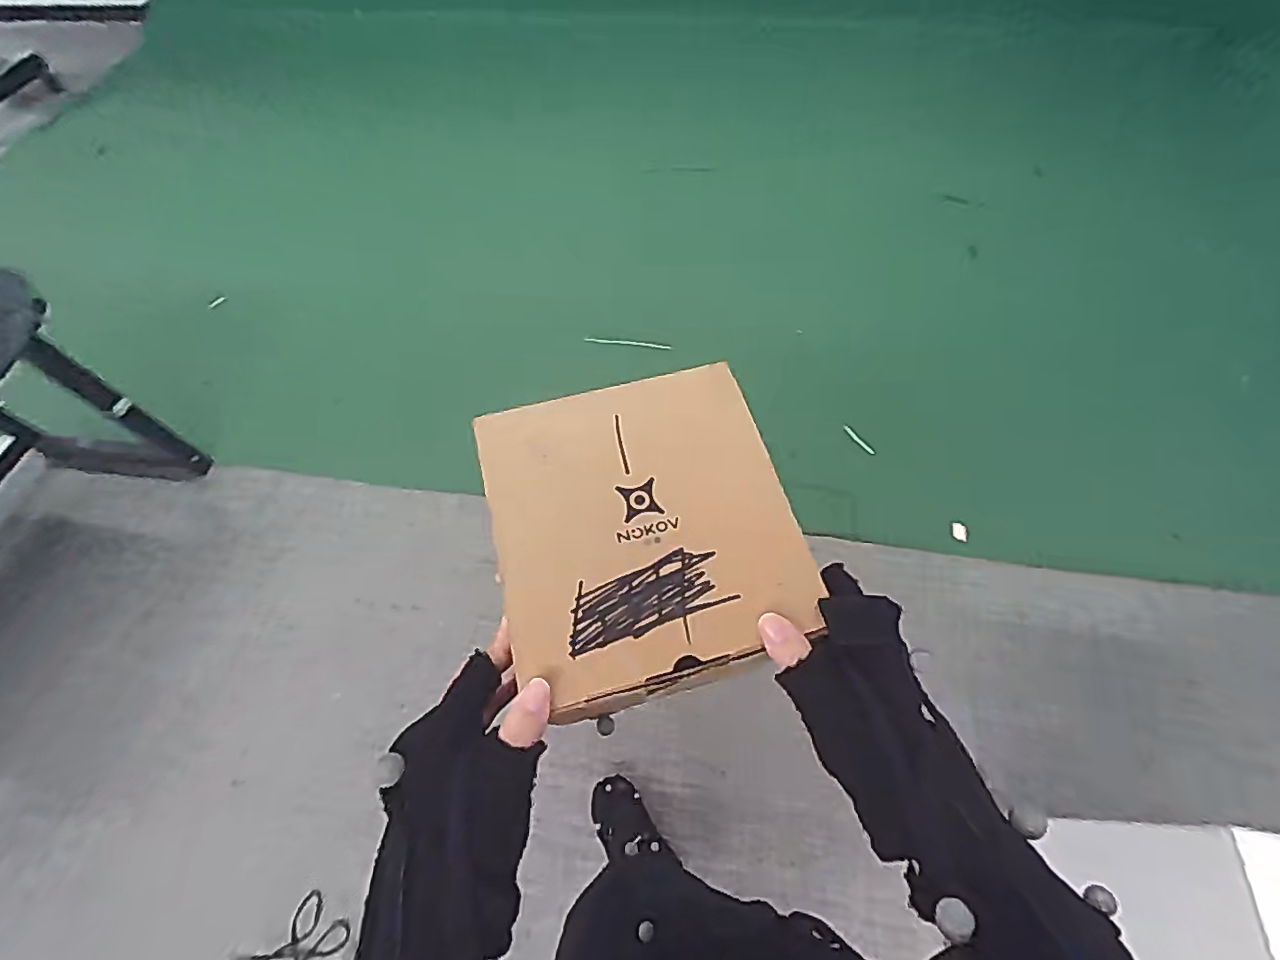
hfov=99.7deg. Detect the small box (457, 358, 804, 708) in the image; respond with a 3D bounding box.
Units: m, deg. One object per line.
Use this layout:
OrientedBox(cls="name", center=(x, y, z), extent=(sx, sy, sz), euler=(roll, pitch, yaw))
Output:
OrientedBox(cls="small box", center=(-0.012, 0.049, 0.380), extent=(0.168, 0.176, 0.179), euler=(-15, 65, -7))
